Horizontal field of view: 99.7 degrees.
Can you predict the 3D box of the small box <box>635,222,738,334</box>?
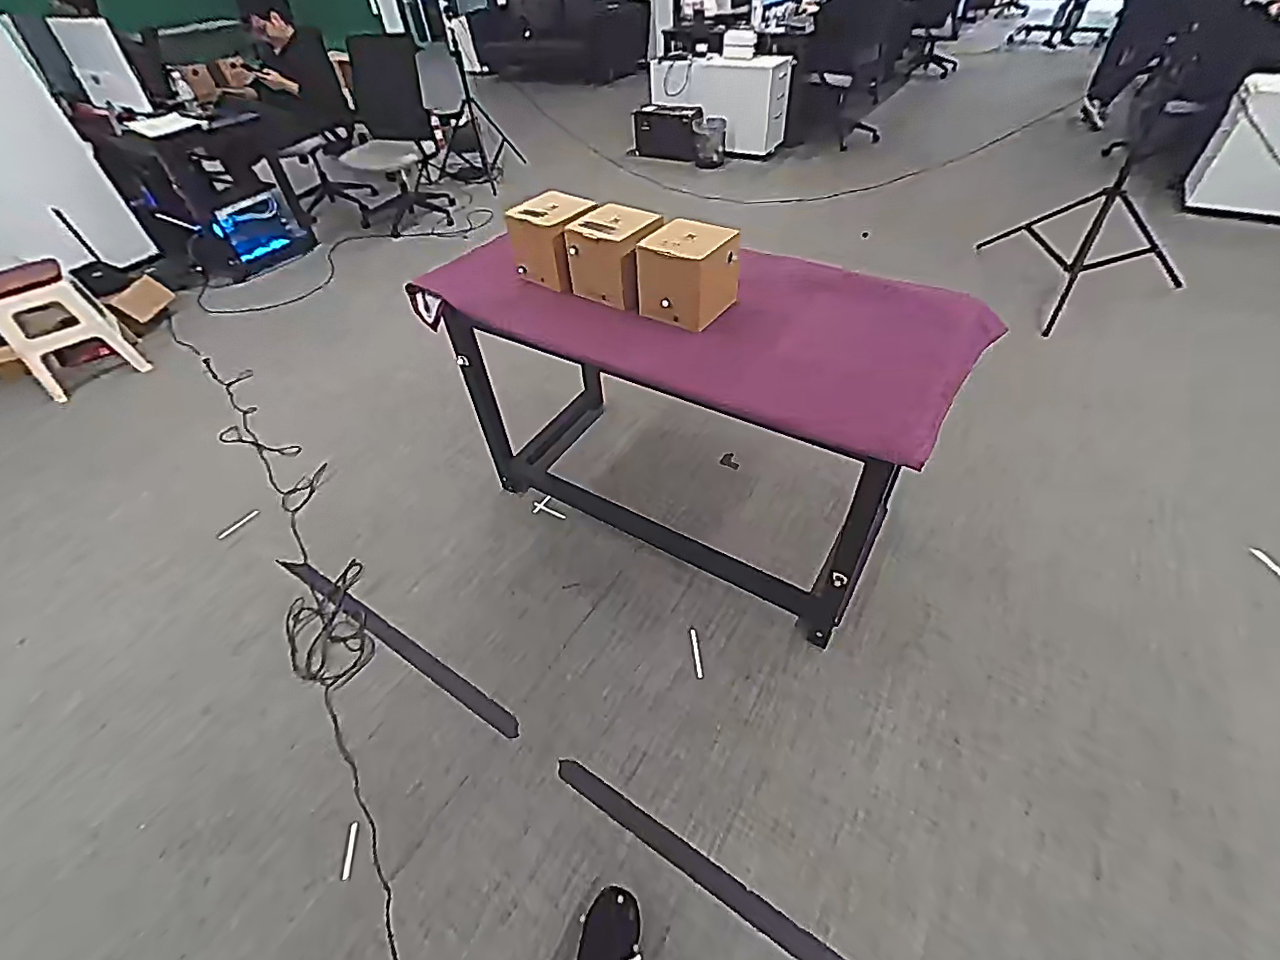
[{"bbox_3d":[0.106,-0.462,1.237,0.168,0.176,0.179,25,52,27],"label":"small box"}]
